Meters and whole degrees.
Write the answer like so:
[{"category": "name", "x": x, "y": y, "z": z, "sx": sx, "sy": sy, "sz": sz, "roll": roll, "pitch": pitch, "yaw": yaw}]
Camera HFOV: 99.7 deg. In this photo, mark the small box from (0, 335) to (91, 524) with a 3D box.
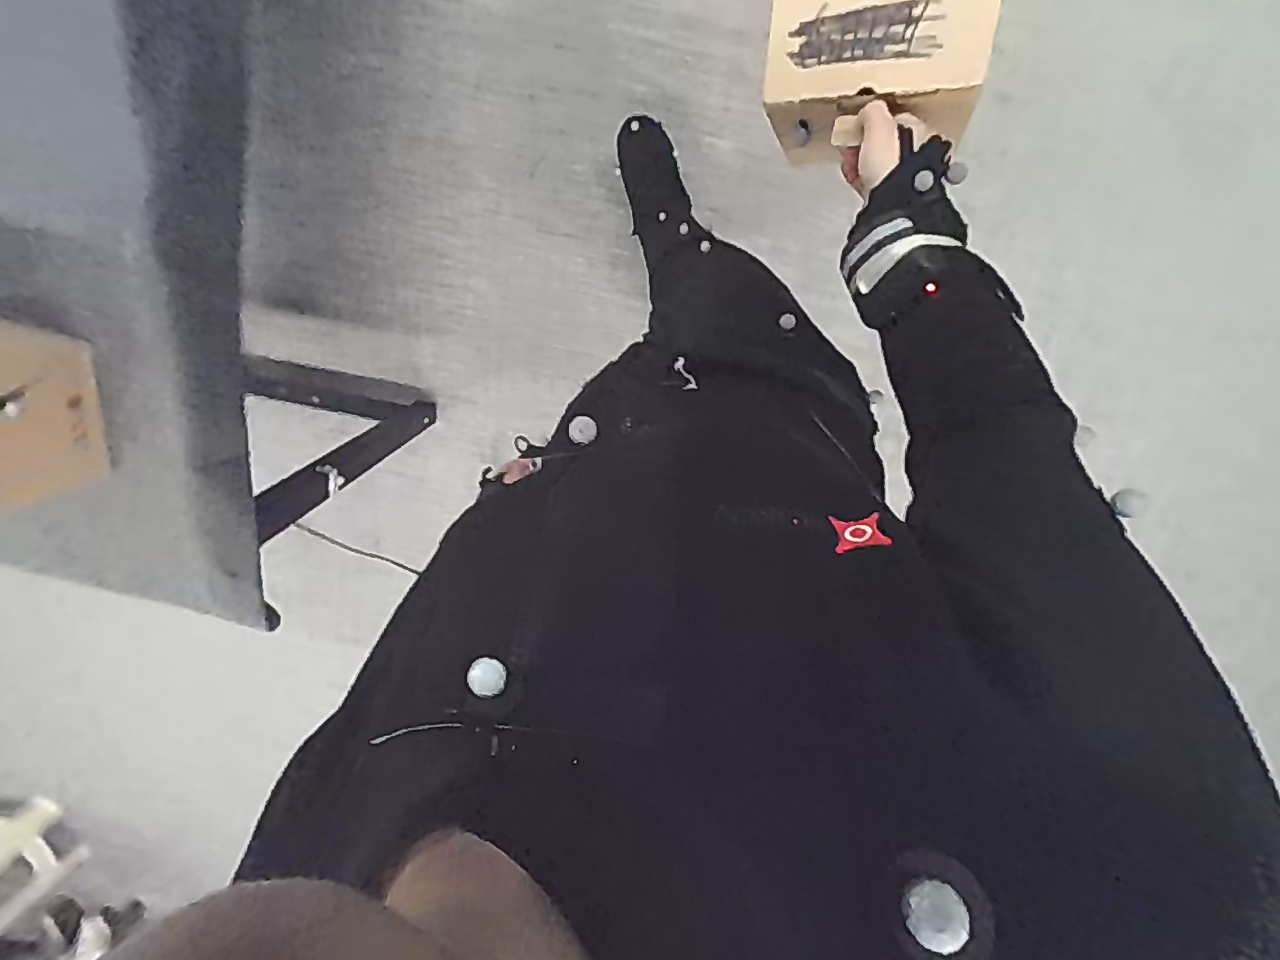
[{"category": "small box", "x": -0.704, "y": -0.055, "z": 0.534, "sx": 0.179, "sy": 0.176, "sz": 0.168, "roll": 15, "pitch": 113, "yaw": 0}]
